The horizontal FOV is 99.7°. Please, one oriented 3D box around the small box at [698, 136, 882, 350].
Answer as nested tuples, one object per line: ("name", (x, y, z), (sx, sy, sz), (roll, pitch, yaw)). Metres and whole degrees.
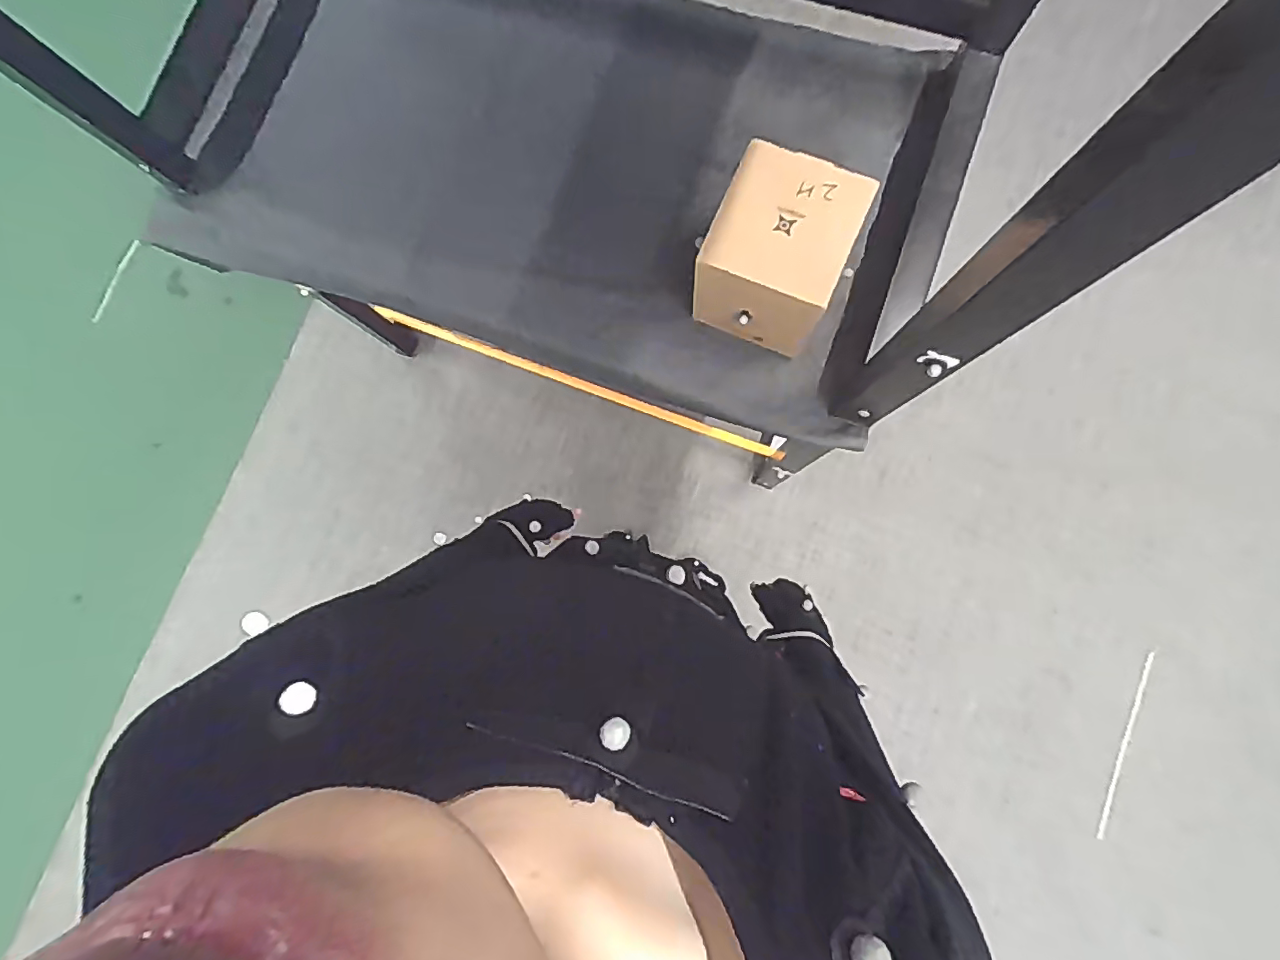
("small box", (0.186, -0.300, 0.723), (0.168, 0.176, 0.179), (24, 85, 6))
